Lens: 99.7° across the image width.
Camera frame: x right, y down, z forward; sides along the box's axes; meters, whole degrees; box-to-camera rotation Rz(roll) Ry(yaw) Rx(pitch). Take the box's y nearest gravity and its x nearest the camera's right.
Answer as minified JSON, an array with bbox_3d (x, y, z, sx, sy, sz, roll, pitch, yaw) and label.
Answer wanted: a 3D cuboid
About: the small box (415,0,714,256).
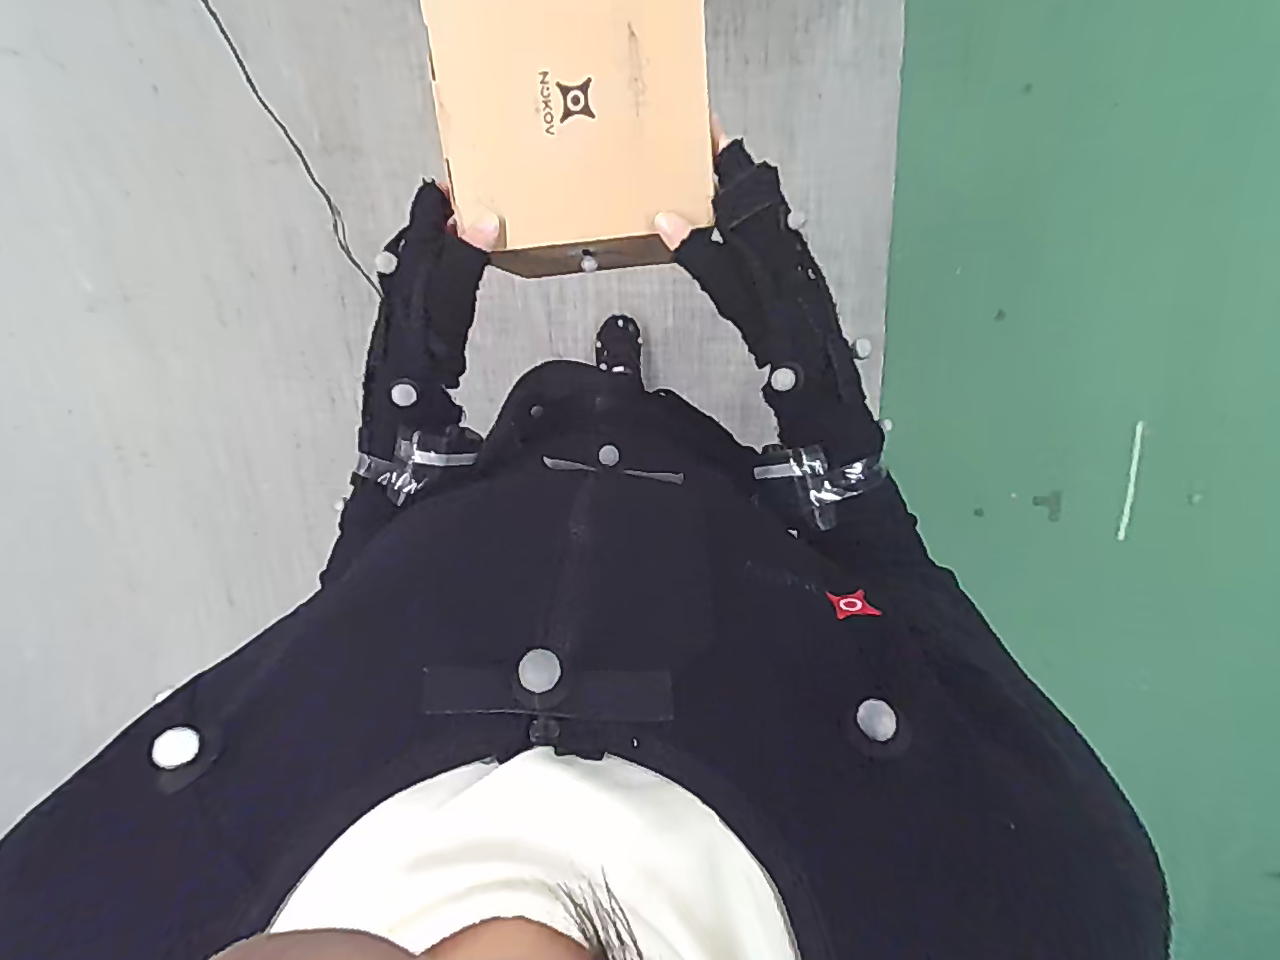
[{"bbox_3d":[-0.040,-0.272,0.407,0.179,0.176,0.168,-5,107,5],"label":"small box"}]

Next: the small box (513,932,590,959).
[{"bbox_3d":[-0.218,1.245,1.304,0.179,0.176,0.168,-13,102,4],"label":"small box"}]
